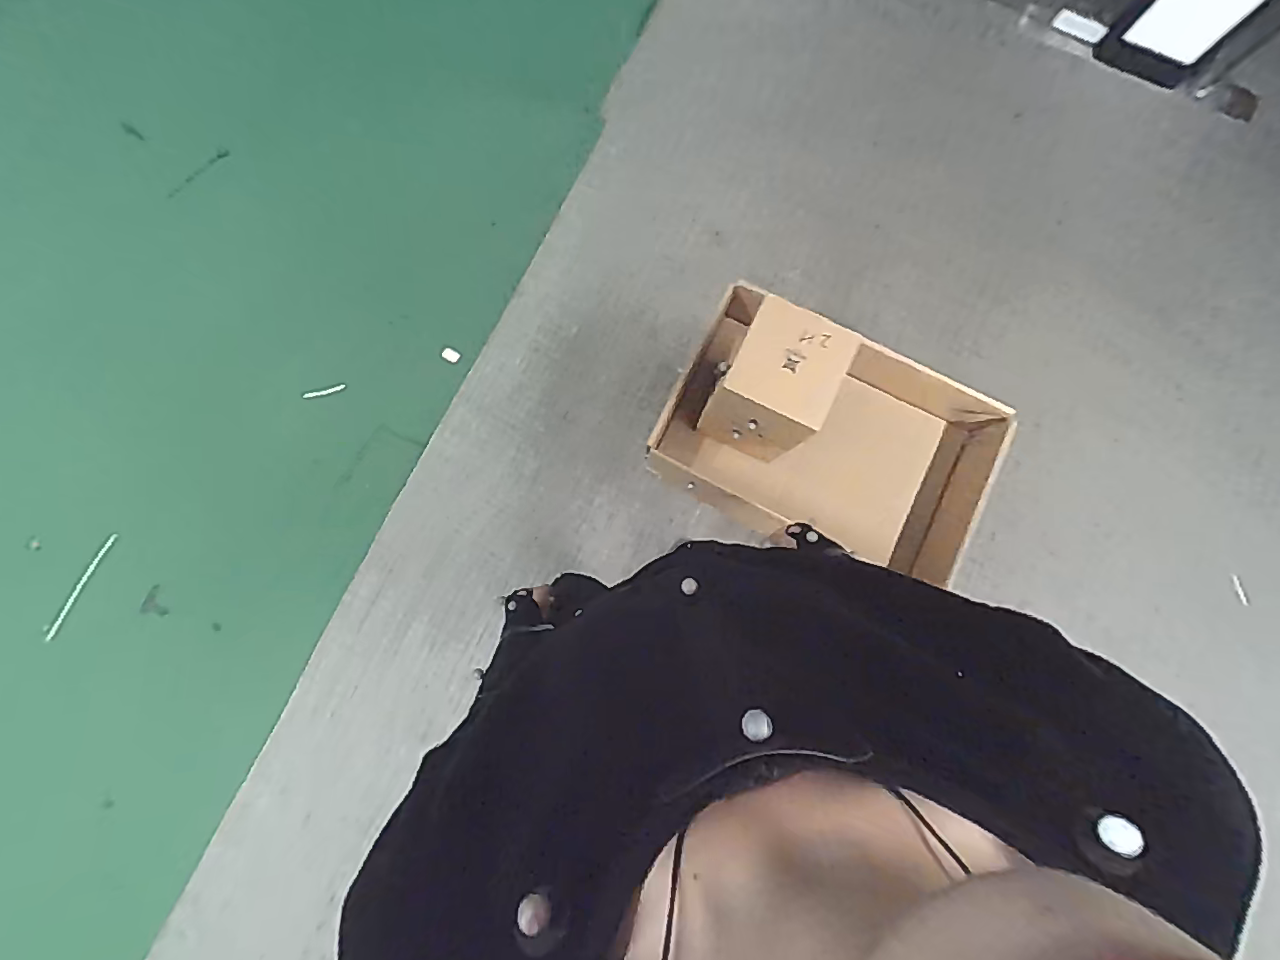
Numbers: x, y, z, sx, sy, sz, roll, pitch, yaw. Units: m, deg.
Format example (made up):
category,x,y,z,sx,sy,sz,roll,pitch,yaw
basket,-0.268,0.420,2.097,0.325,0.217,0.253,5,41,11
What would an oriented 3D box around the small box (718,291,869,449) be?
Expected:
category,x,y,z,sx,sy,sz,roll,pitch,yaw
small box,0.241,-0.170,0.898,0.168,0.176,0.179,27,82,3
